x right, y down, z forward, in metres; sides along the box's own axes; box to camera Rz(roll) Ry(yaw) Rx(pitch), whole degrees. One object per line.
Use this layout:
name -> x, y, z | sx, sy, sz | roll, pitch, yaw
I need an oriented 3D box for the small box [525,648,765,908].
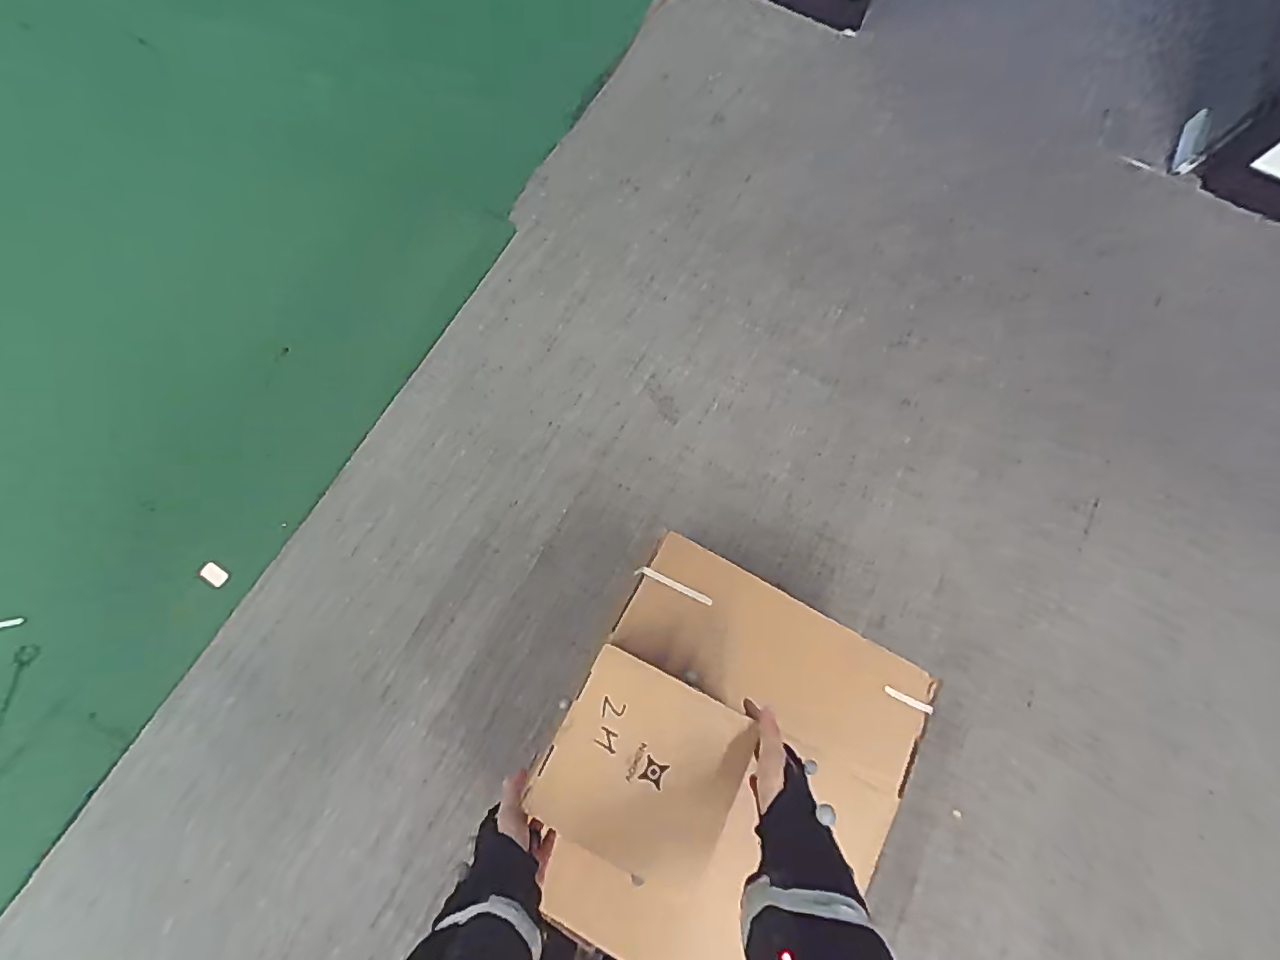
small box -> 0.004, 0.293, 0.579 | 0.179, 0.176, 0.168 | 27, 73, 6
